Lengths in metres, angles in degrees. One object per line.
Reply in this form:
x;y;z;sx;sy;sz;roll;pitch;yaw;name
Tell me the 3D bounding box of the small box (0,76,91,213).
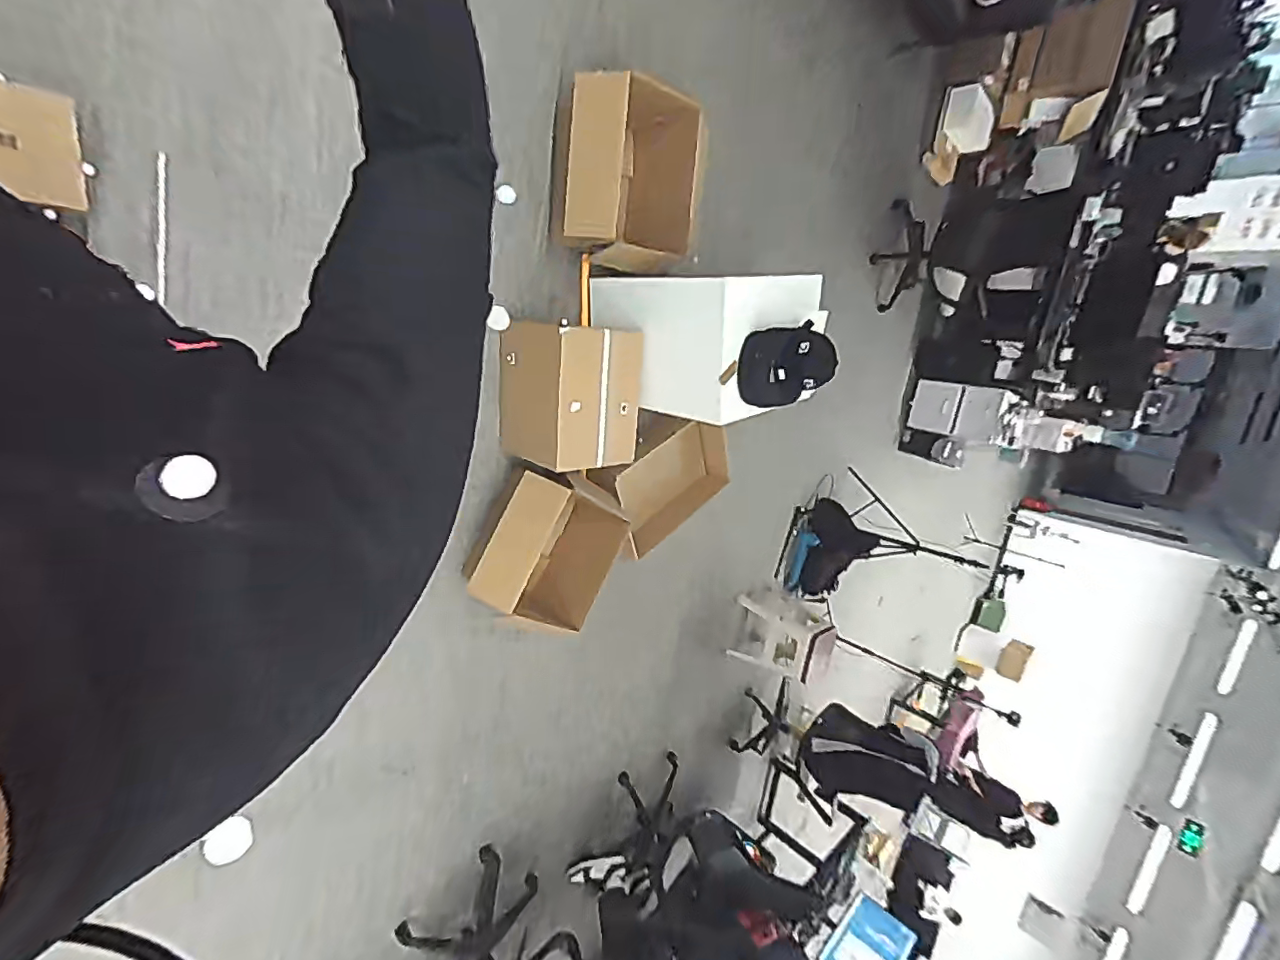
-1.007;-0.533;0.855;0.179;0.176;0.168;-8;110;-45;small box
